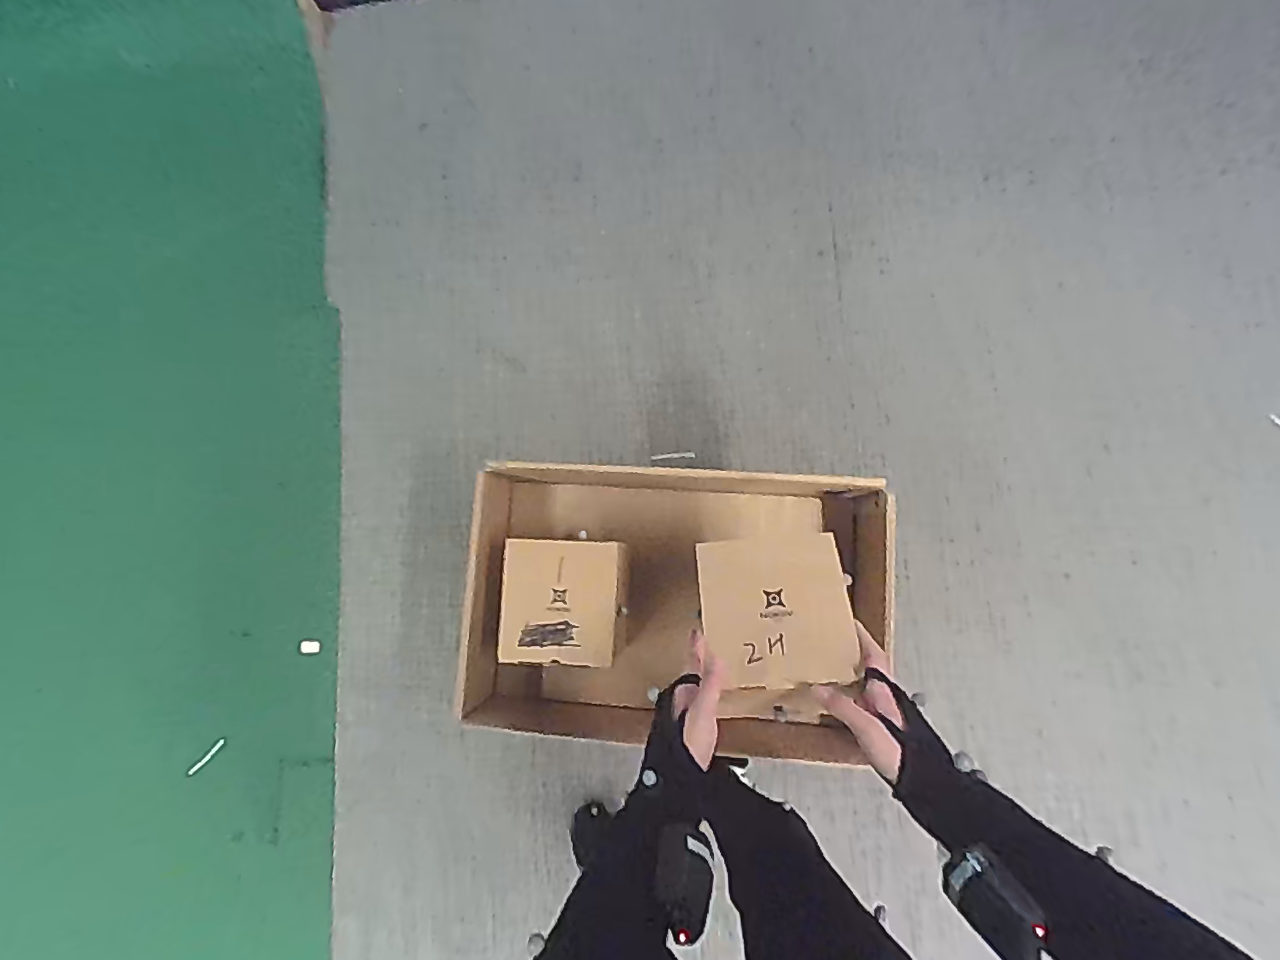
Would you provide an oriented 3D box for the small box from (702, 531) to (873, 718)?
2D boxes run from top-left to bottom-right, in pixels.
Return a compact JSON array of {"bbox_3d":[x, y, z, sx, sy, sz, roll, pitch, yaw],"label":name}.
[{"bbox_3d":[0.164,0.181,0.661,0.168,0.176,0.179,-5,57,7],"label":"small box"}]
